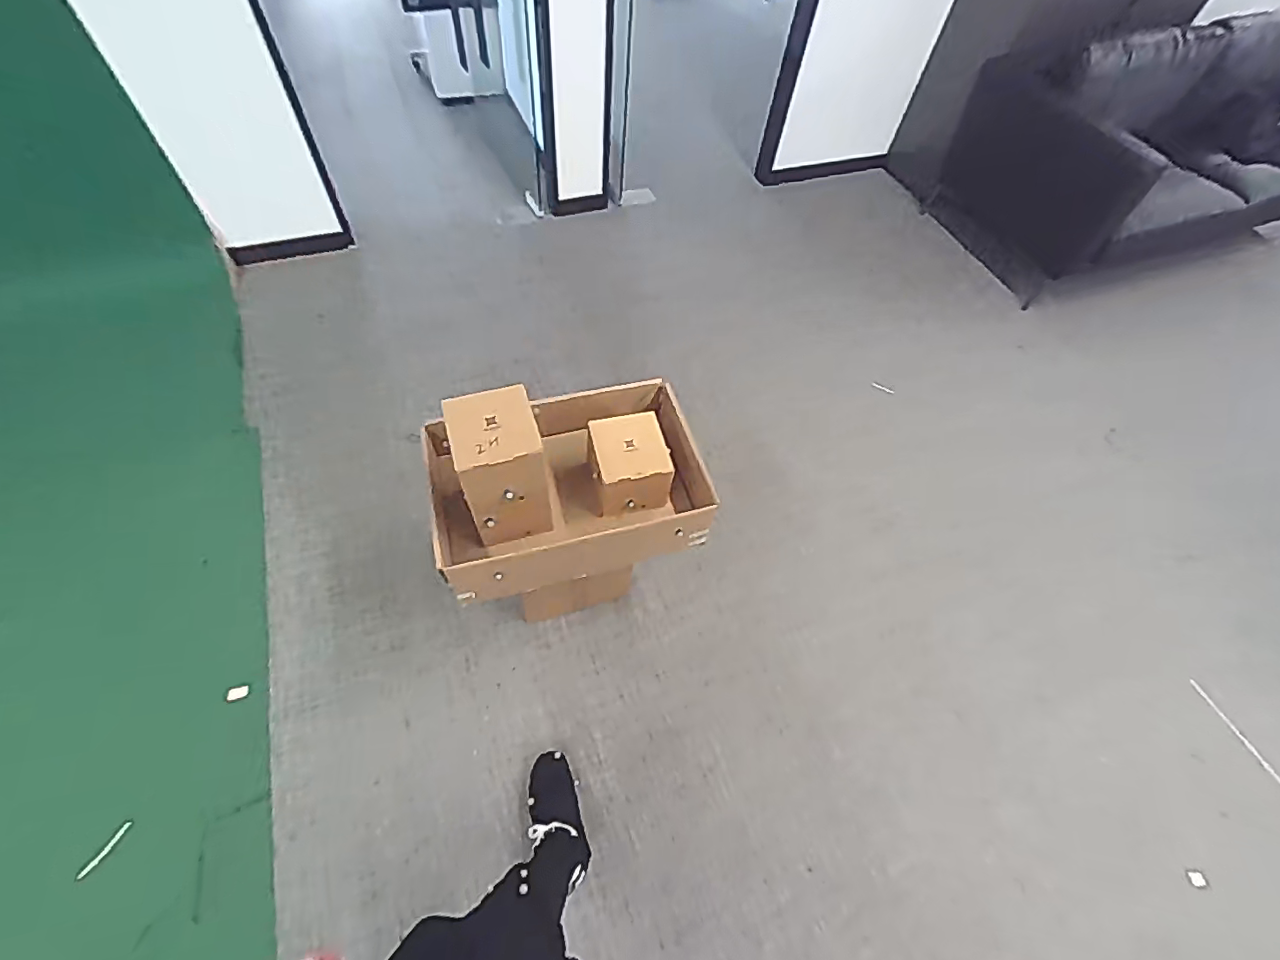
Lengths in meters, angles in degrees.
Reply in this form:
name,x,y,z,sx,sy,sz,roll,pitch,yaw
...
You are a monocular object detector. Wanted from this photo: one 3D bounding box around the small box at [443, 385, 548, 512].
name,x,y,z,sx,sy,sz,roll,pitch,yaw
small box,-0.289,-0.063,1.096,0.168,0.176,0.179,-14,60,-14
